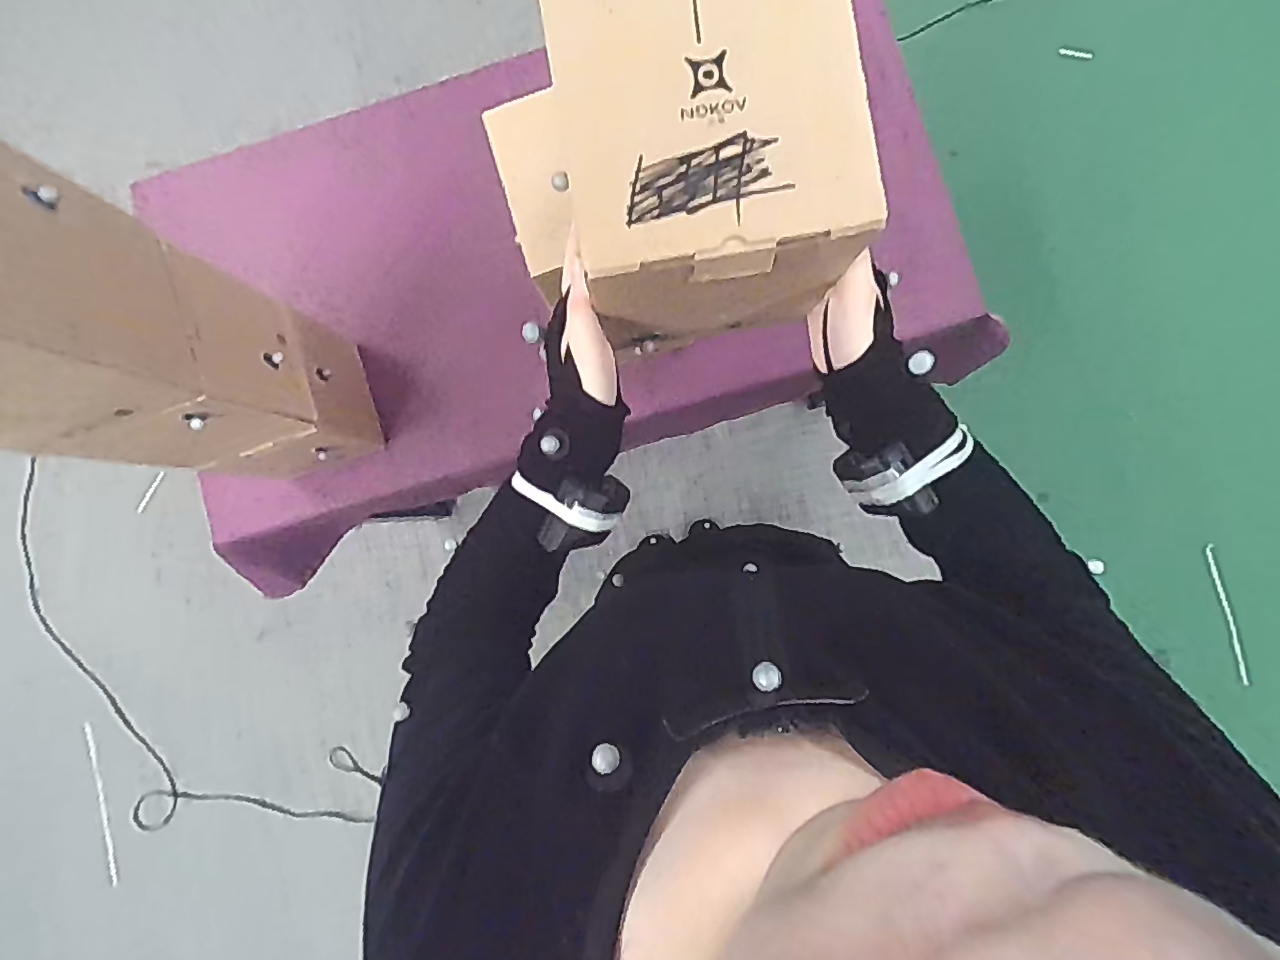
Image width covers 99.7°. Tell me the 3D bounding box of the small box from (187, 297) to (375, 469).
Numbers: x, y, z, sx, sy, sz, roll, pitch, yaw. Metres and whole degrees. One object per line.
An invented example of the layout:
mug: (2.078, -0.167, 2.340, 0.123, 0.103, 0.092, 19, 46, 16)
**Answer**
small box: (-0.497, -0.118, 0.745, 0.168, 0.176, 0.179, -18, 86, 1)

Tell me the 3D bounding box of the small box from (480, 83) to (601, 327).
small box: (-0.038, -0.281, 0.564, 0.179, 0.176, 0.168, -17, 87, 2)

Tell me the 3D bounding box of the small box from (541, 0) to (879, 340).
small box: (0.039, -0.205, 0.372, 0.168, 0.176, 0.179, -9, 89, 1)

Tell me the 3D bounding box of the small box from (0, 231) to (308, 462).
small box: (-0.509, -0.125, 0.583, 0.179, 0.176, 0.168, -20, 86, 0)

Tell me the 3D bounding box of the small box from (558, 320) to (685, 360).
small box: (-0.033, -0.273, 0.729, 0.168, 0.176, 0.179, -16, 87, 2)
